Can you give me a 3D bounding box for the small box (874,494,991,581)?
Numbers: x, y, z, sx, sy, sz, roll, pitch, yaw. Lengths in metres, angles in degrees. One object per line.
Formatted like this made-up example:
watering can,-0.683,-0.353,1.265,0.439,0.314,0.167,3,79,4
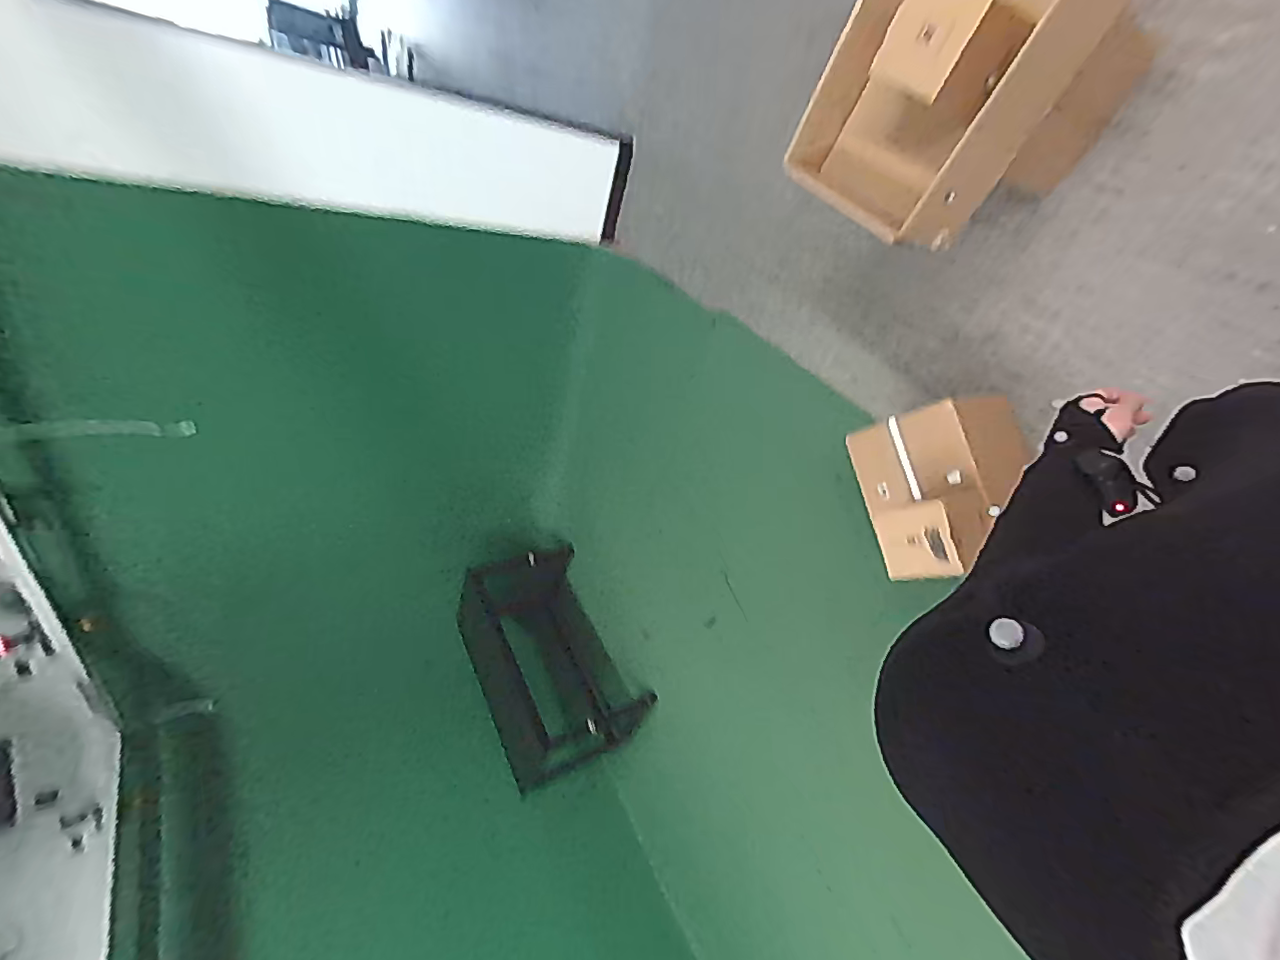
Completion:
small box,0.696,0.136,1.277,0.179,0.176,0.168,-22,78,55
